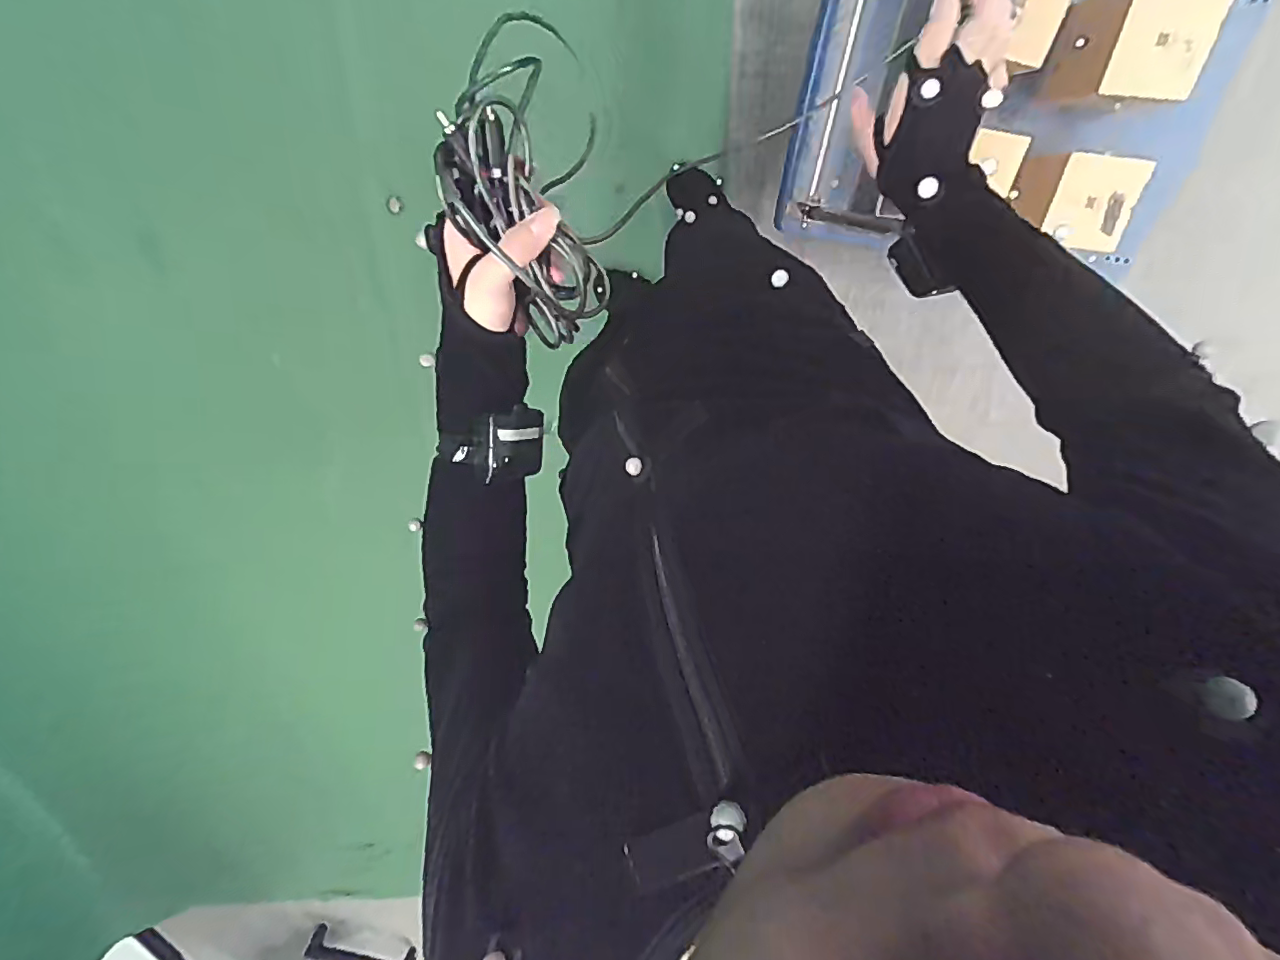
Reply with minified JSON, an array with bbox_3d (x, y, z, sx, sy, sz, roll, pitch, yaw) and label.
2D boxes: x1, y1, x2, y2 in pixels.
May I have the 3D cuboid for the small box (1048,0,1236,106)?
[{"bbox_3d":[0.922,-0.811,1.009,0.179,0.176,0.168,3,119,-2],"label":"small box"}]

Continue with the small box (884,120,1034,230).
[{"bbox_3d":[0.640,-0.622,1.110,0.179,0.176,0.168,7,118,-4],"label":"small box"}]

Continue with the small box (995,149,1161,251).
[{"bbox_3d":[0.901,-0.586,1.132,0.179,0.176,0.168,5,118,-2],"label":"small box"}]
